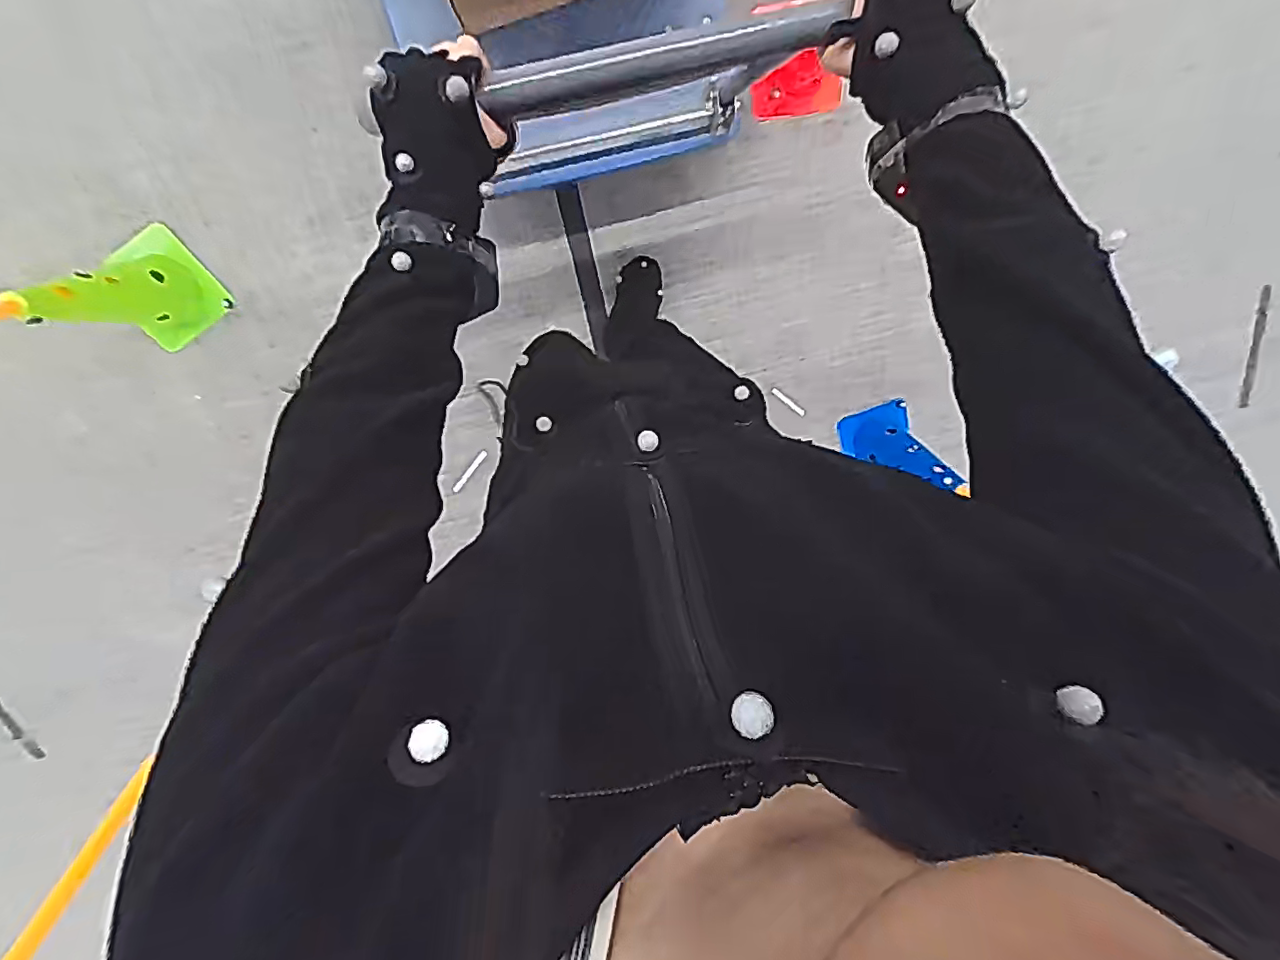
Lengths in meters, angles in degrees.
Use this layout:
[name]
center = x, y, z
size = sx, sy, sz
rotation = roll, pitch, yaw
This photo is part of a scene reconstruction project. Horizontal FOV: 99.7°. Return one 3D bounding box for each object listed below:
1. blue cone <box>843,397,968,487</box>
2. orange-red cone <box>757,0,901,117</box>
[blue cone]
center = 0.691, -0.060, 1.368
size = 0.193, 0.380, 0.192
rotation = -19, 113, 0
[orange-red cone]
center = 0.369, -0.823, 0.989
size = 0.199, 0.360, 0.198
rotation = -9, 114, -5
